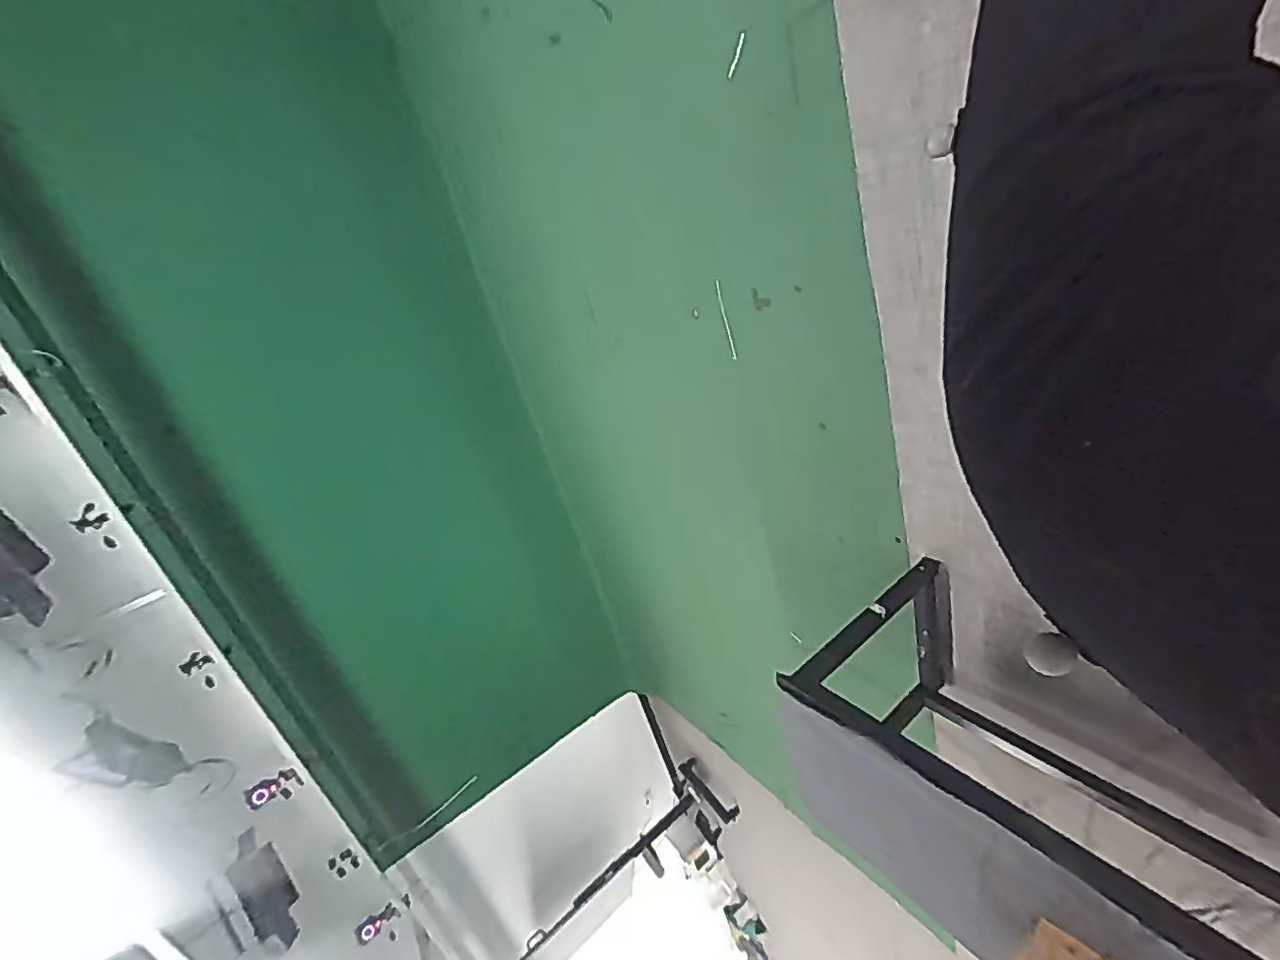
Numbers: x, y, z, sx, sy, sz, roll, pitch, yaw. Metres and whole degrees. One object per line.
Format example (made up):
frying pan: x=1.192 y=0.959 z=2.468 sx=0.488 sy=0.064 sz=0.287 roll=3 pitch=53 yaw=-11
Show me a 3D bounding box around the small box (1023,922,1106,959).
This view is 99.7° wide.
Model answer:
small box: x=0.826 y=0.998 z=1.010 sx=0.168 sy=0.176 sz=0.179 roll=5 pitch=120 yaw=61
